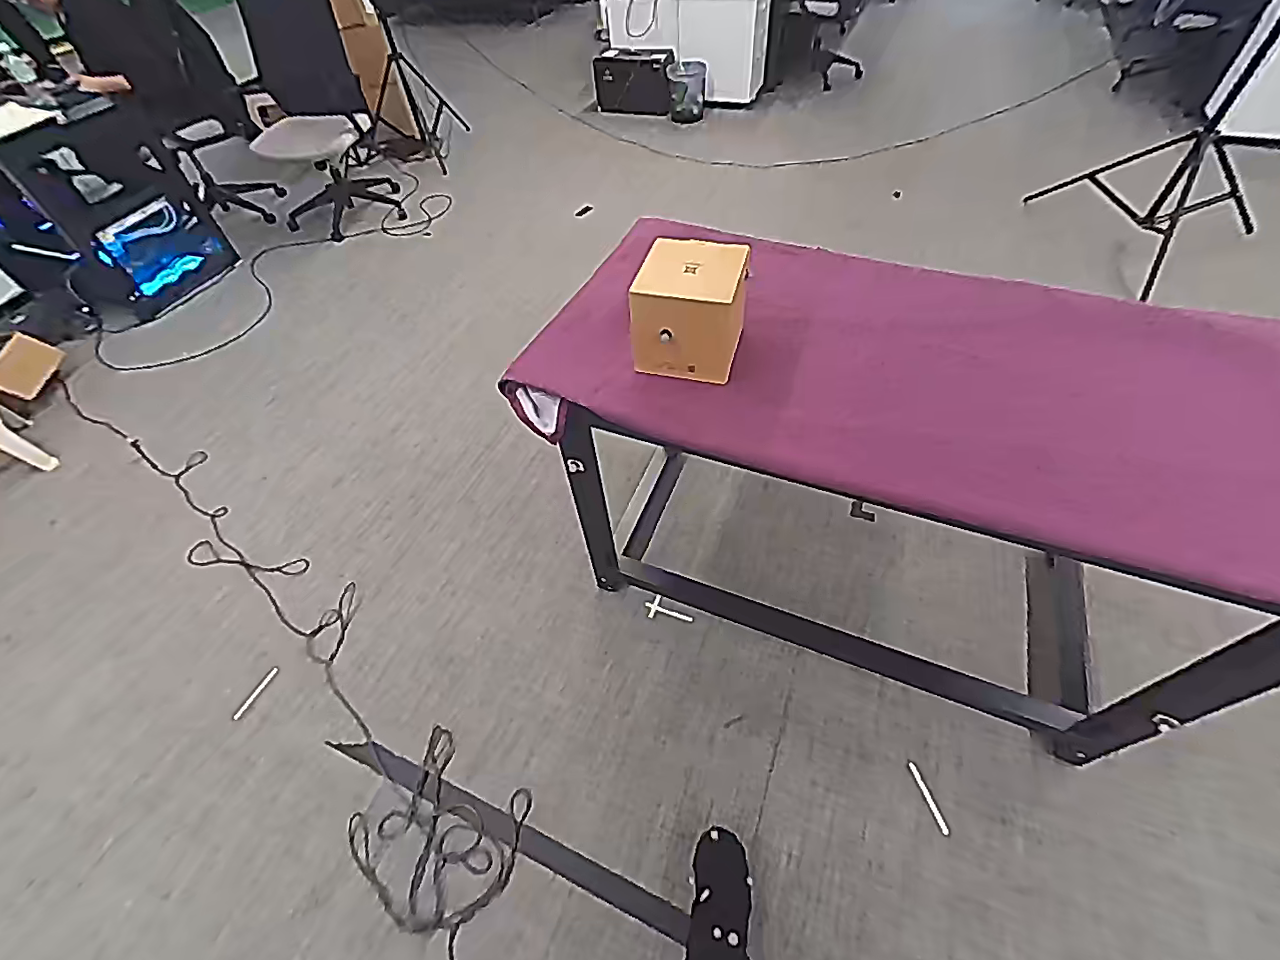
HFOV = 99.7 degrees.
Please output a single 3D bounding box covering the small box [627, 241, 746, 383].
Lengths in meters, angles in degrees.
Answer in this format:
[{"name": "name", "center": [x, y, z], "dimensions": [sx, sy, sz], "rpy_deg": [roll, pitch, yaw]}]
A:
[{"name": "small box", "center": [0.086, -0.292, 0.947], "dimensions": [0.168, 0.176, 0.179], "rpy_deg": [10, 52, 13]}]
